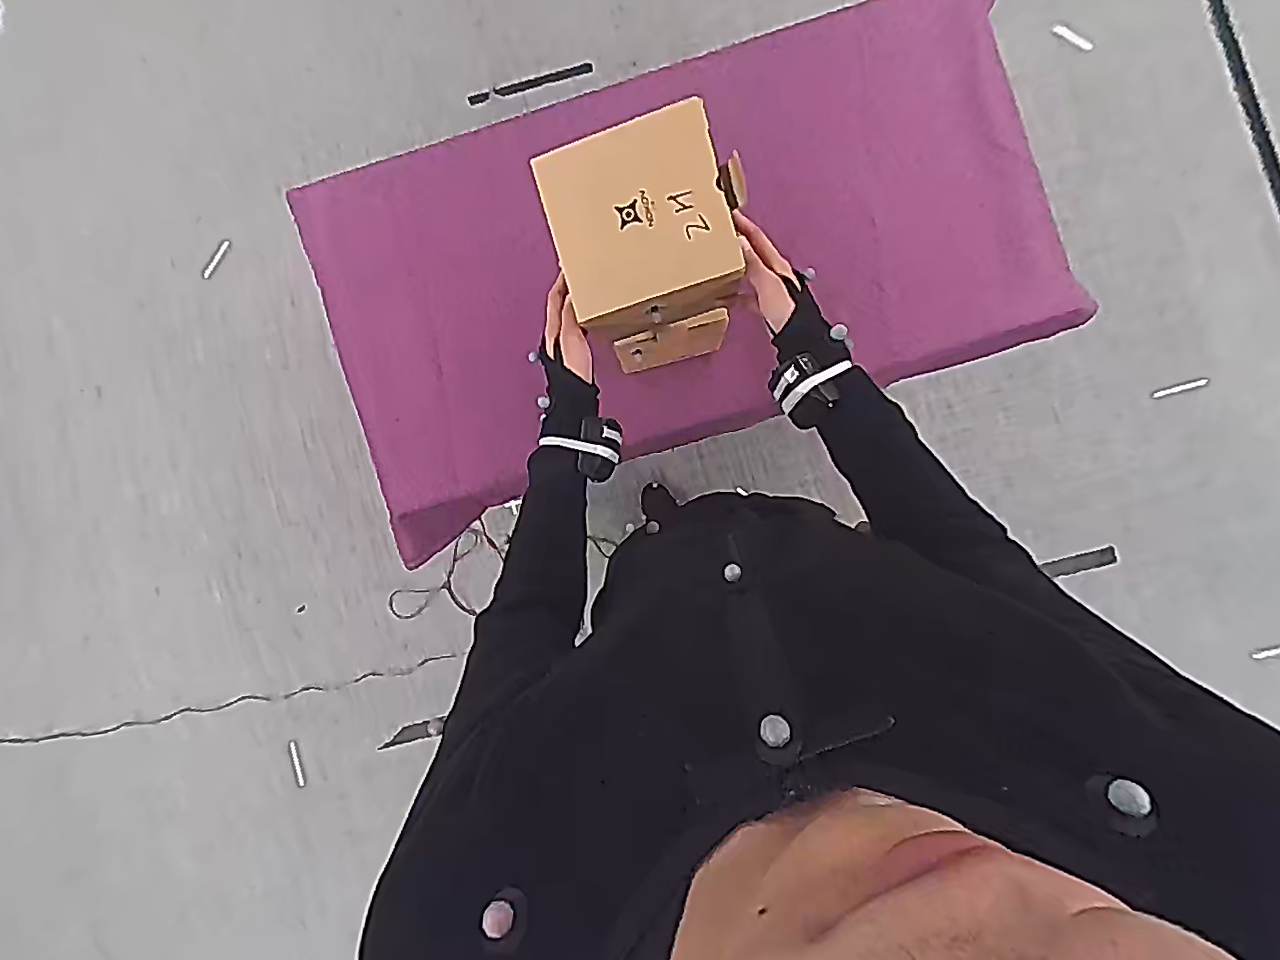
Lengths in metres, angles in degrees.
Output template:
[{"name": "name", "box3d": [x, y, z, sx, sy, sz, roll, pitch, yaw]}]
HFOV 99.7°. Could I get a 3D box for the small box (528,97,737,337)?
[{"name": "small box", "box3d": [0.001, -0.270, 0.604, 0.179, 0.176, 0.168, -16, 95, 7]}]
